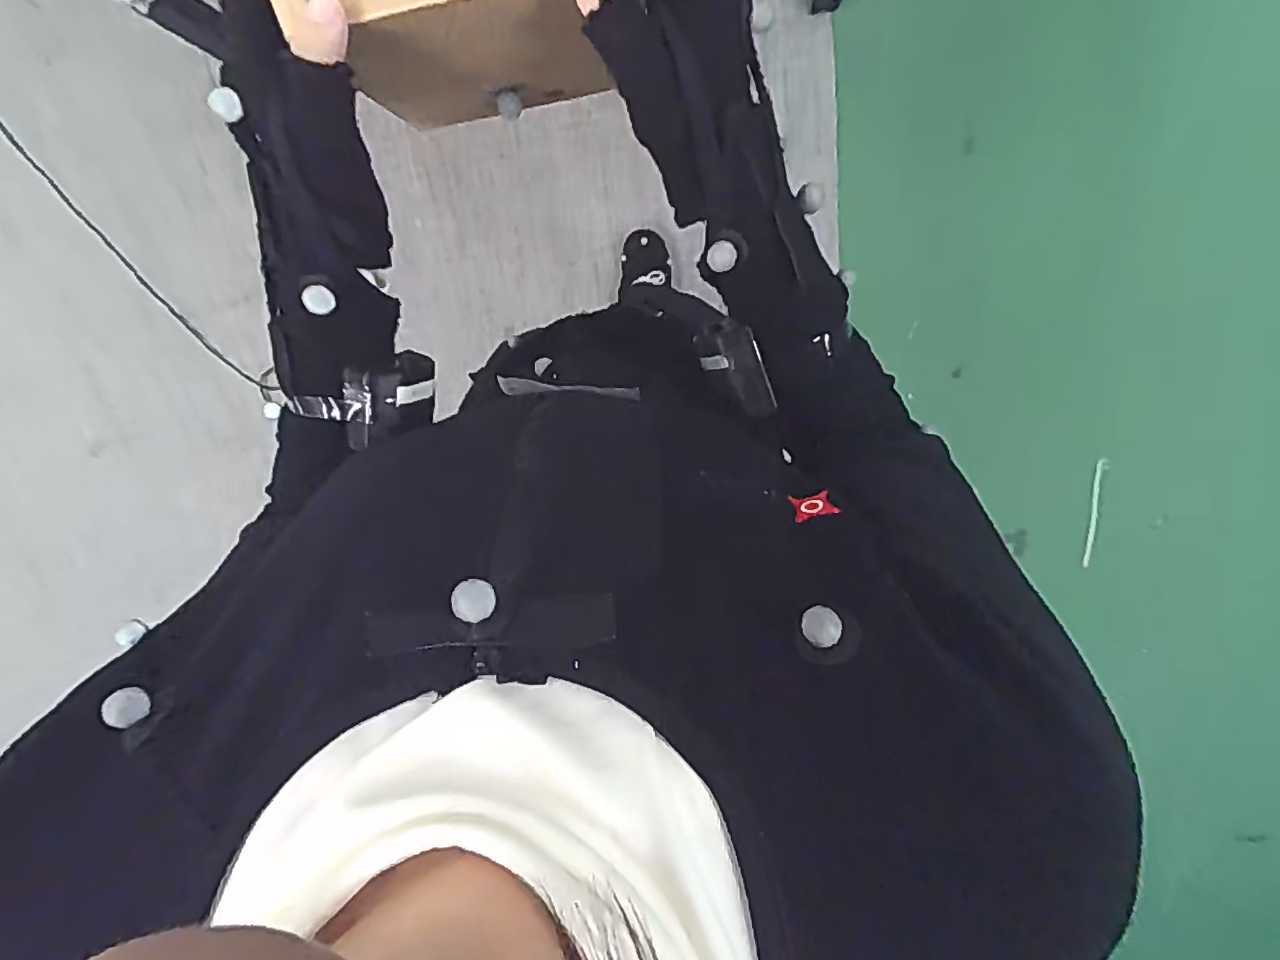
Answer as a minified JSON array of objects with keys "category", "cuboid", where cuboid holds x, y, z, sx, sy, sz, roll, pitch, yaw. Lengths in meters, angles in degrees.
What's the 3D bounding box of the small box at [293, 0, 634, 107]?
[{"category":"small box","cuboid":[-0.098,-0.329,0.277,0.168,0.176,0.179,-10,111,3]}]
